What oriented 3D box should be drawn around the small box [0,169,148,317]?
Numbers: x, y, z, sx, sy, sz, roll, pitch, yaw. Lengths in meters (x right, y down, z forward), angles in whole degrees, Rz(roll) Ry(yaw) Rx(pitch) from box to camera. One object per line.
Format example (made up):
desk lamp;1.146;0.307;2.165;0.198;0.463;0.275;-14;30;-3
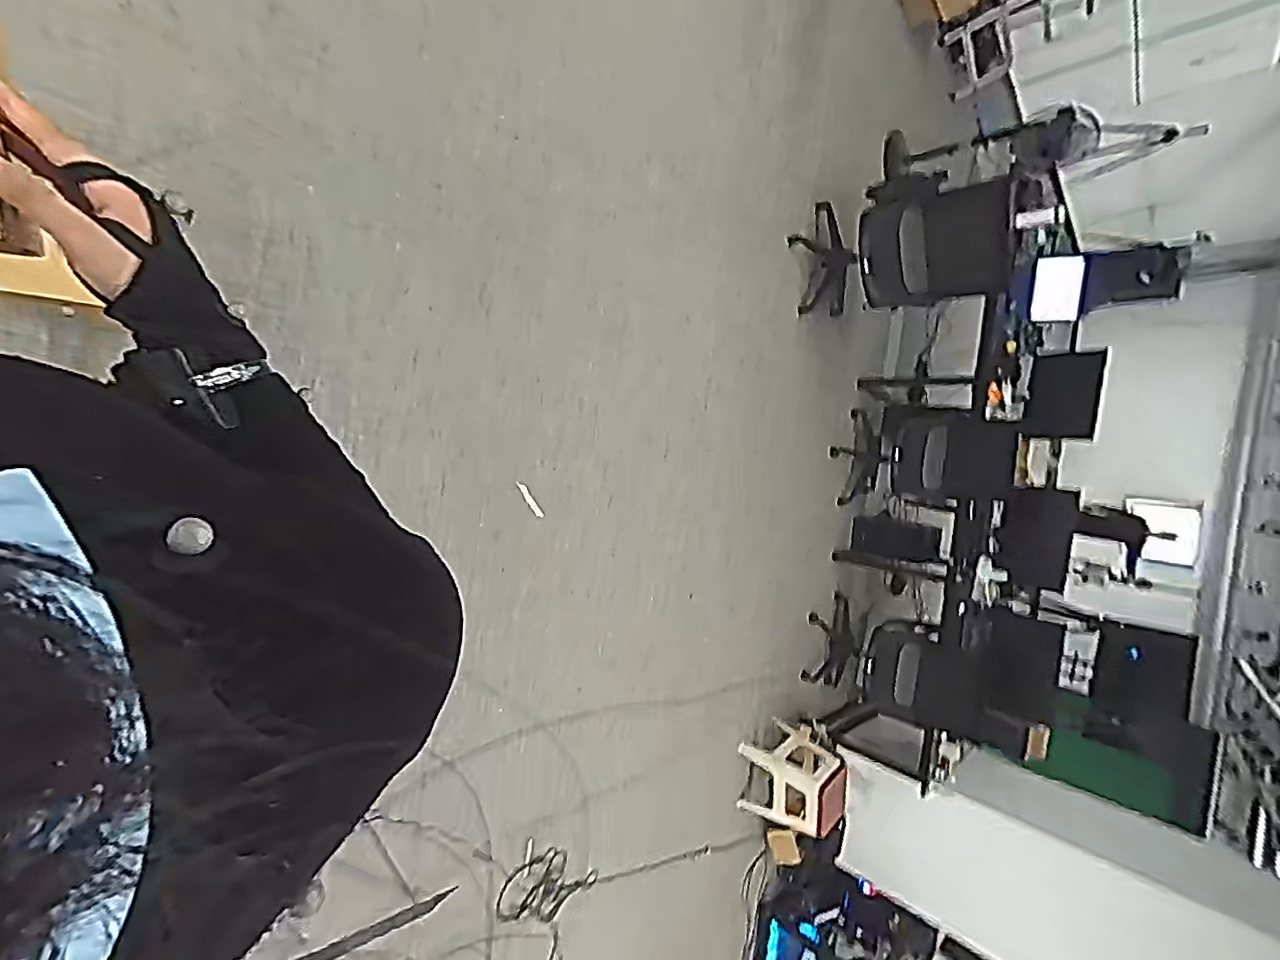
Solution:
small box;-0.912;-0.363;0.863;0.179;0.176;0.168;0;97;-45
